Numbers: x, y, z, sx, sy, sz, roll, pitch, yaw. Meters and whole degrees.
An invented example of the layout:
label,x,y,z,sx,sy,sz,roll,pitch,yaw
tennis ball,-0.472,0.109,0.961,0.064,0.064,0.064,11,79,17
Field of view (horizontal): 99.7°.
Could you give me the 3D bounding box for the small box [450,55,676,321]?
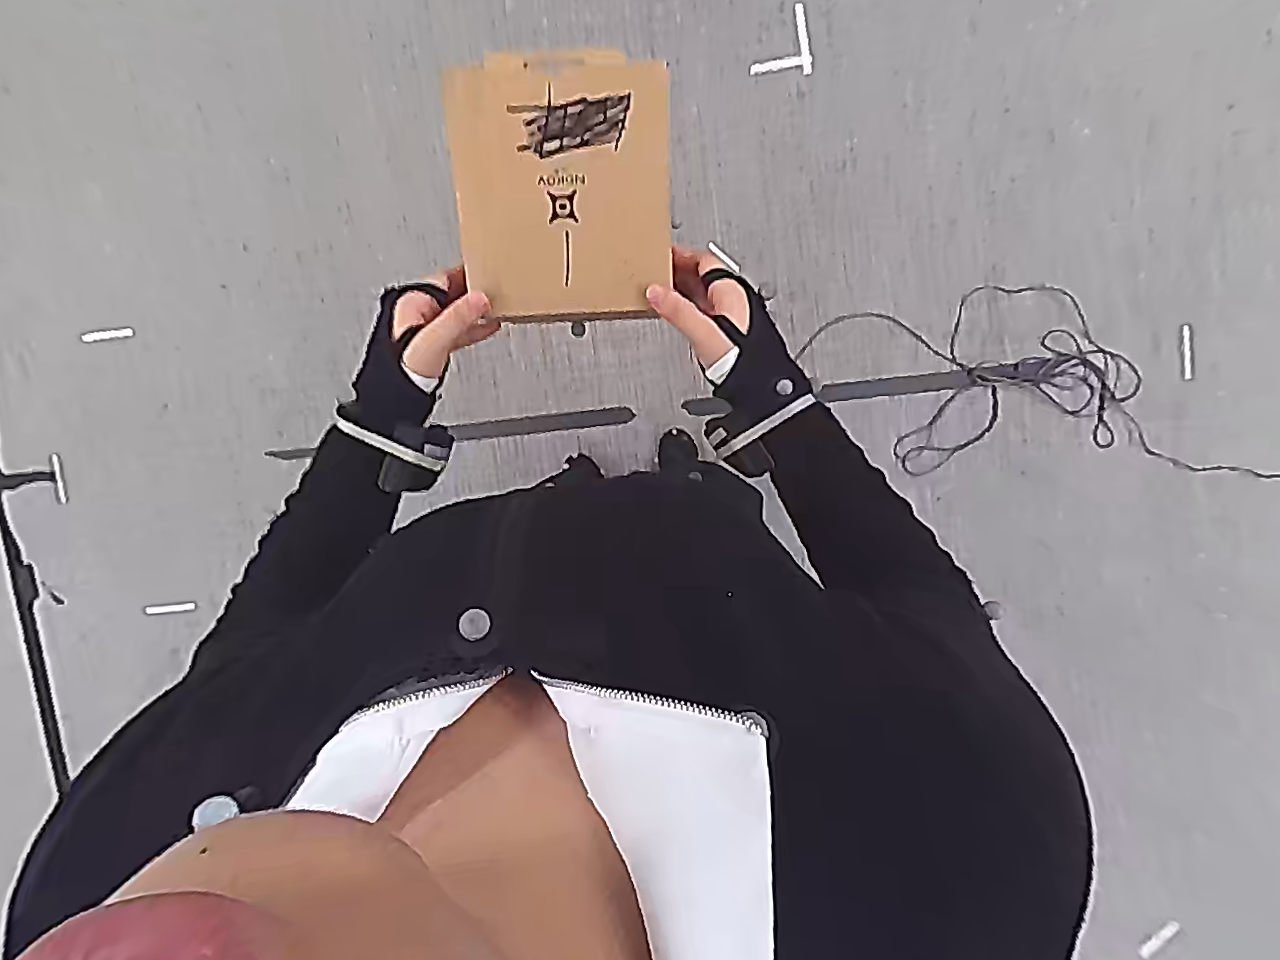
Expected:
label,x,y,z,sx,sy,sz,roll,pitch,yaw
small box,-0.057,-0.239,0.486,0.168,0.176,0.179,-2,105,-1
